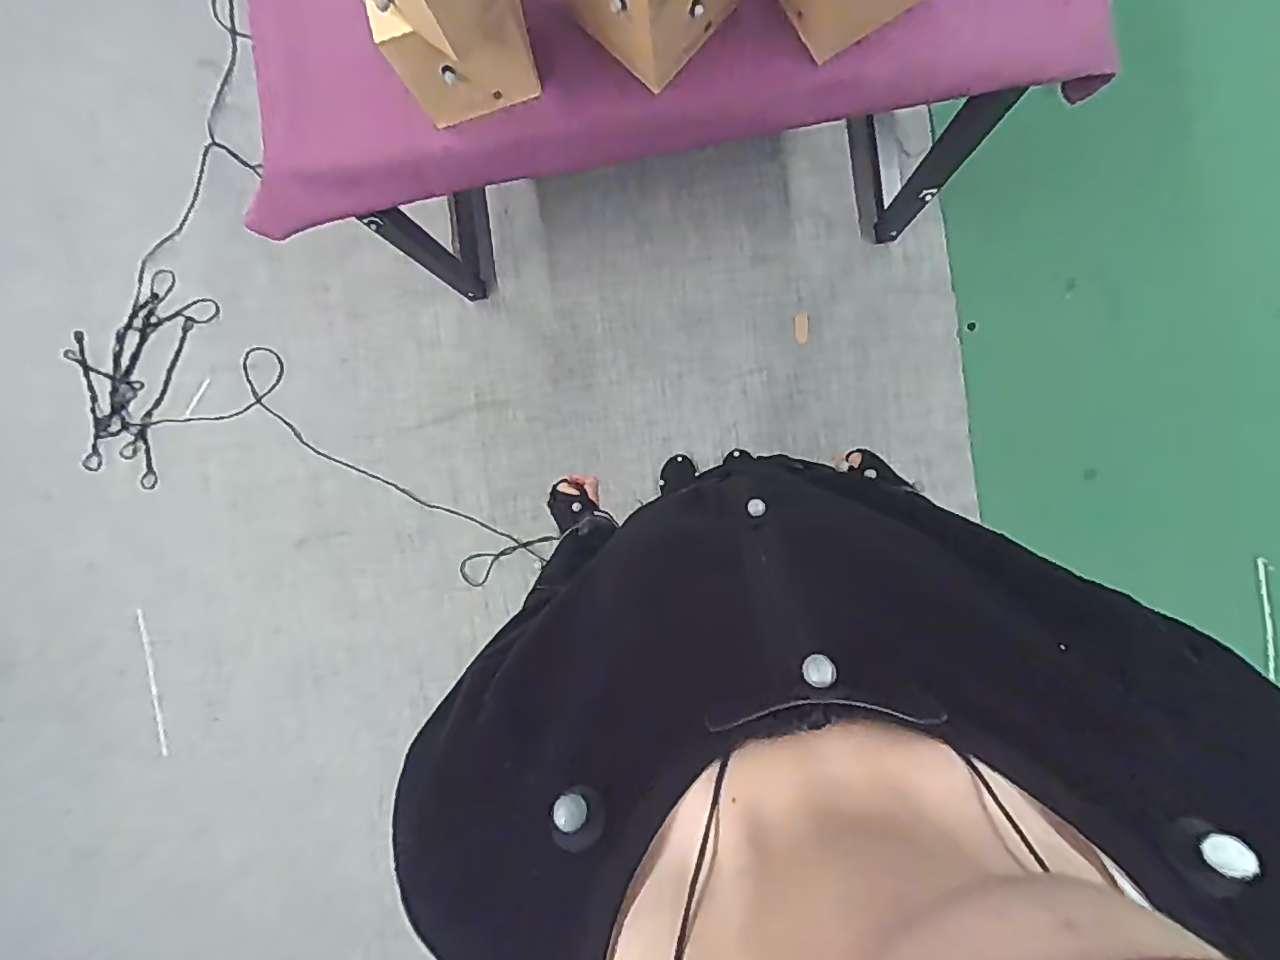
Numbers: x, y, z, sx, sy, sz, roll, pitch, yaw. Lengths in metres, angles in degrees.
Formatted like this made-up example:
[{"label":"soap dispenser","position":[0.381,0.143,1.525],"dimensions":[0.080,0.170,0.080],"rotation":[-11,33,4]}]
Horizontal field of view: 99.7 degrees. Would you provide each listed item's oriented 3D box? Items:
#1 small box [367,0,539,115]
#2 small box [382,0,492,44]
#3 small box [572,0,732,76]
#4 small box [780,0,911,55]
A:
[{"label":"small box","position":[-0.248,-0.628,0.717],"dimensions":[0.168,0.176,0.179],"rotation":[-15,89,6]},{"label":"small box","position":[-0.235,-0.606,0.551],"dimensions":[0.179,0.176,0.168],"rotation":[37,94,4]},{"label":"small box","position":[0.012,-0.669,0.687],"dimensions":[0.168,0.176,0.179],"rotation":[-45,86,4]},{"label":"small box","position":[0.271,-0.690,0.661],"dimensions":[0.179,0.176,0.168],"rotation":[-29,87,6]}]
